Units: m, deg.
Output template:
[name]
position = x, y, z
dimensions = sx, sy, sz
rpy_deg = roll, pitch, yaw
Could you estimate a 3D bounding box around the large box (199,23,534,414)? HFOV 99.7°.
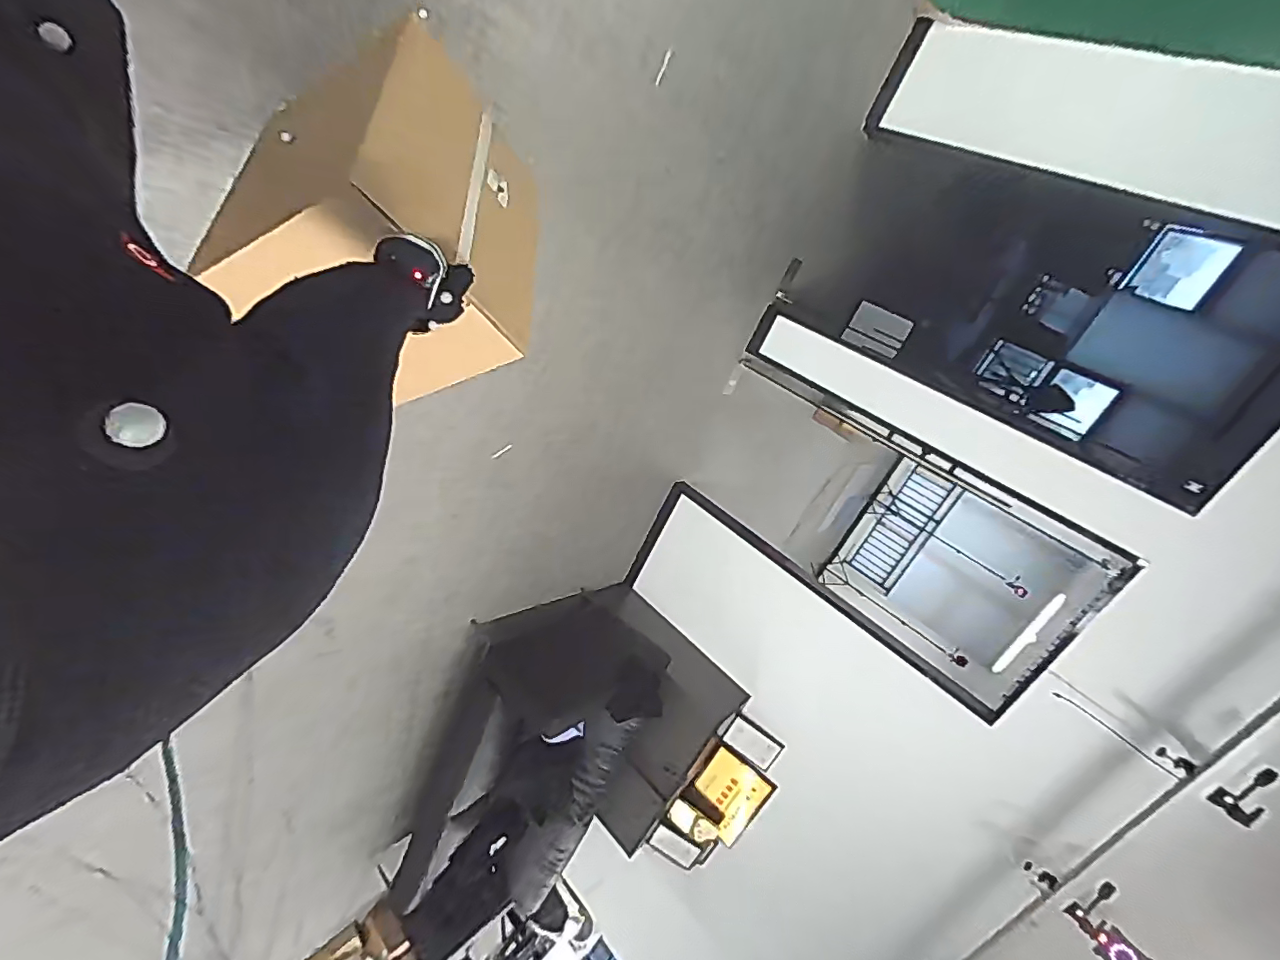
[large box]
position = -0.388, -0.380, 0.853
dimensions = 0.320, 0.408, 0.320
rpy_deg = -16, 149, 21
